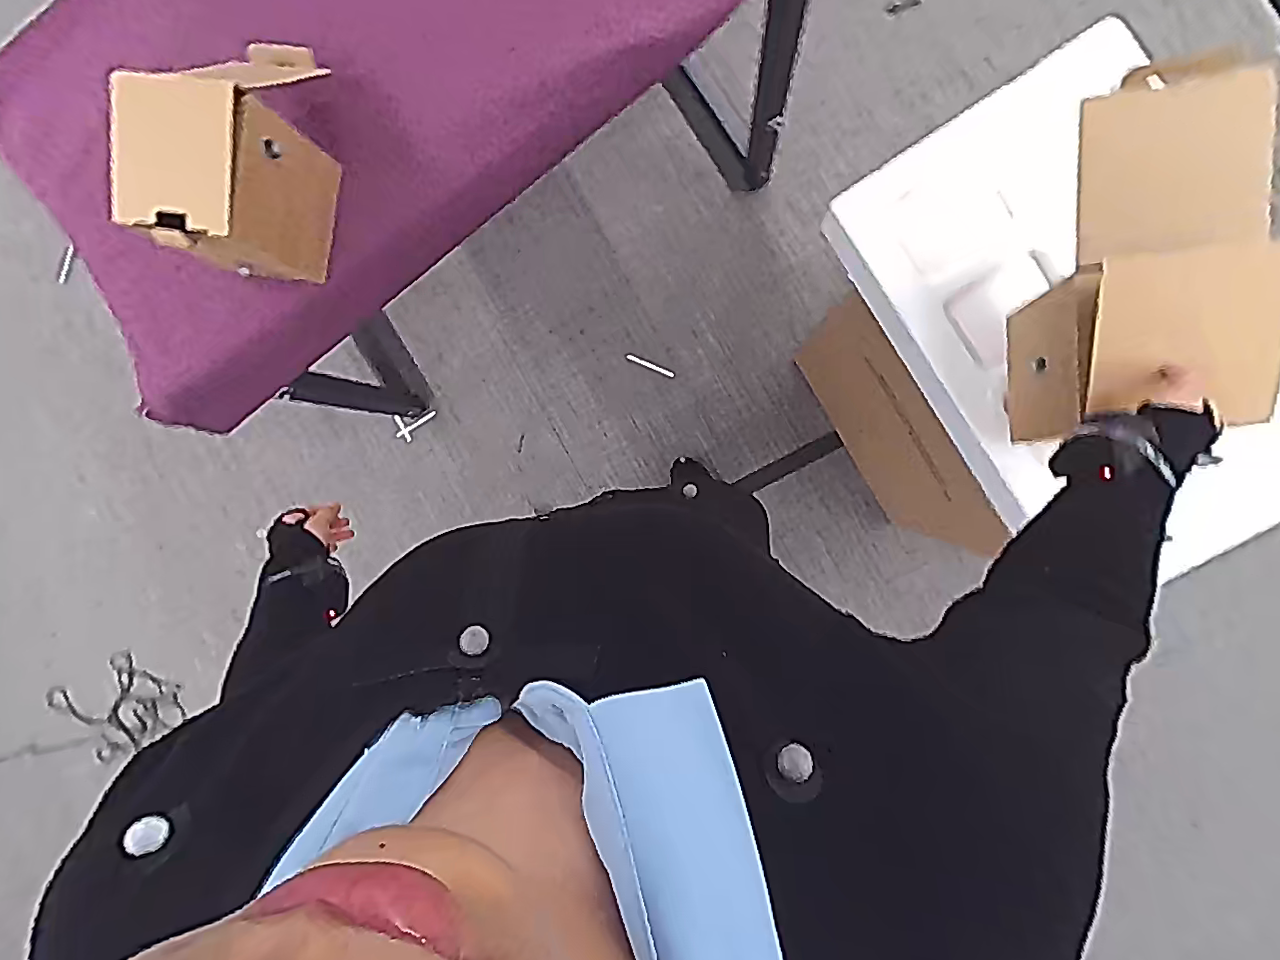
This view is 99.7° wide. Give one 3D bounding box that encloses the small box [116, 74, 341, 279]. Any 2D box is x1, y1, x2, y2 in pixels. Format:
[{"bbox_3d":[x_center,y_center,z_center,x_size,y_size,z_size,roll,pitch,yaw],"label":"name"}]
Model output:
[{"bbox_3d":[-0.541,-0.398,0.733,0.168,0.176,0.179,11,92,8],"label":"small box"}]
